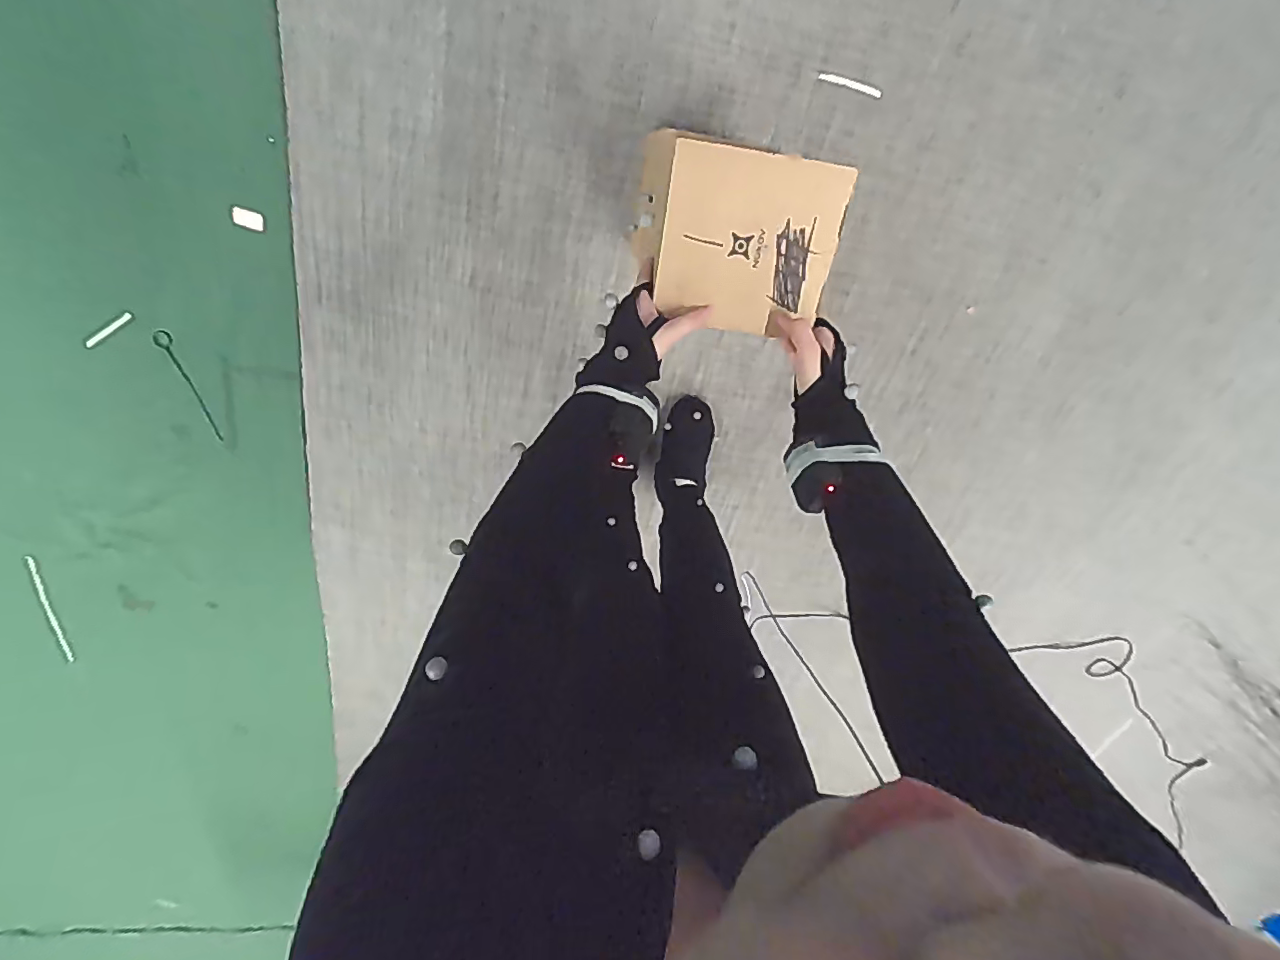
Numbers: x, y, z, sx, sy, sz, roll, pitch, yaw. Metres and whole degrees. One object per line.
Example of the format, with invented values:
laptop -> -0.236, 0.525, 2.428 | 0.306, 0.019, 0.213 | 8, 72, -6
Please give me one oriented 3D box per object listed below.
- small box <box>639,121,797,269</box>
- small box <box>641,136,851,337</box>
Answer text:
small box -> 0.091, -0.373, 0.743 | 0.168, 0.176, 0.179 | 7, 121, -6
small box -> 0.100, -0.273, 0.607 | 0.179, 0.176, 0.168 | 7, 119, -5
